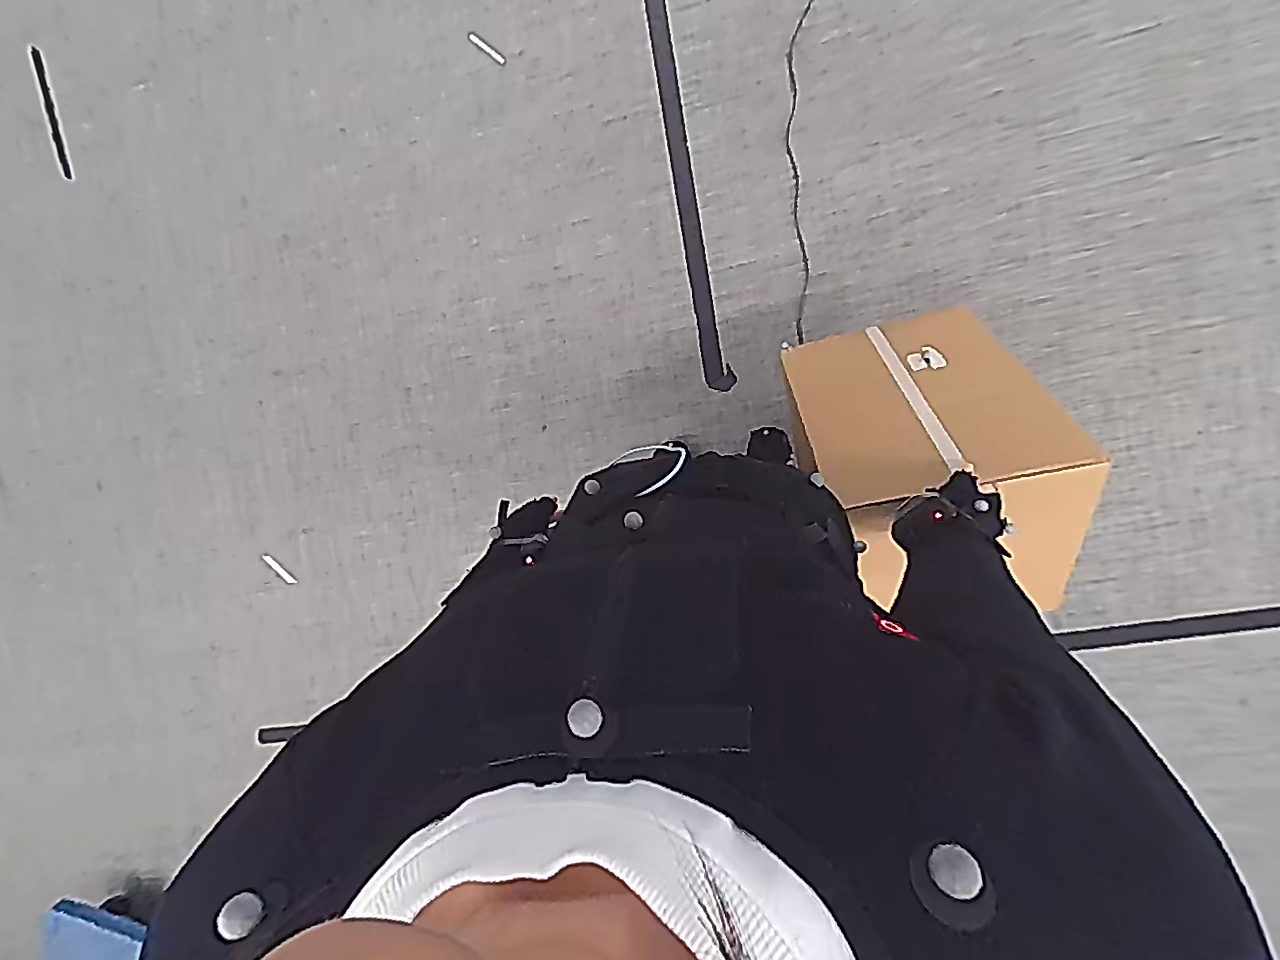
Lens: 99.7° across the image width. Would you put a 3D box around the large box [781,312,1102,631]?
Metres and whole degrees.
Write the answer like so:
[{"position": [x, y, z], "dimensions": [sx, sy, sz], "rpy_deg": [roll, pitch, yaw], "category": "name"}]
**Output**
[{"position": [0.448, -0.019, 0.907], "dimensions": [0.320, 0.408, 0.320], "rpy_deg": [-12, 131, 11], "category": "large box"}]
